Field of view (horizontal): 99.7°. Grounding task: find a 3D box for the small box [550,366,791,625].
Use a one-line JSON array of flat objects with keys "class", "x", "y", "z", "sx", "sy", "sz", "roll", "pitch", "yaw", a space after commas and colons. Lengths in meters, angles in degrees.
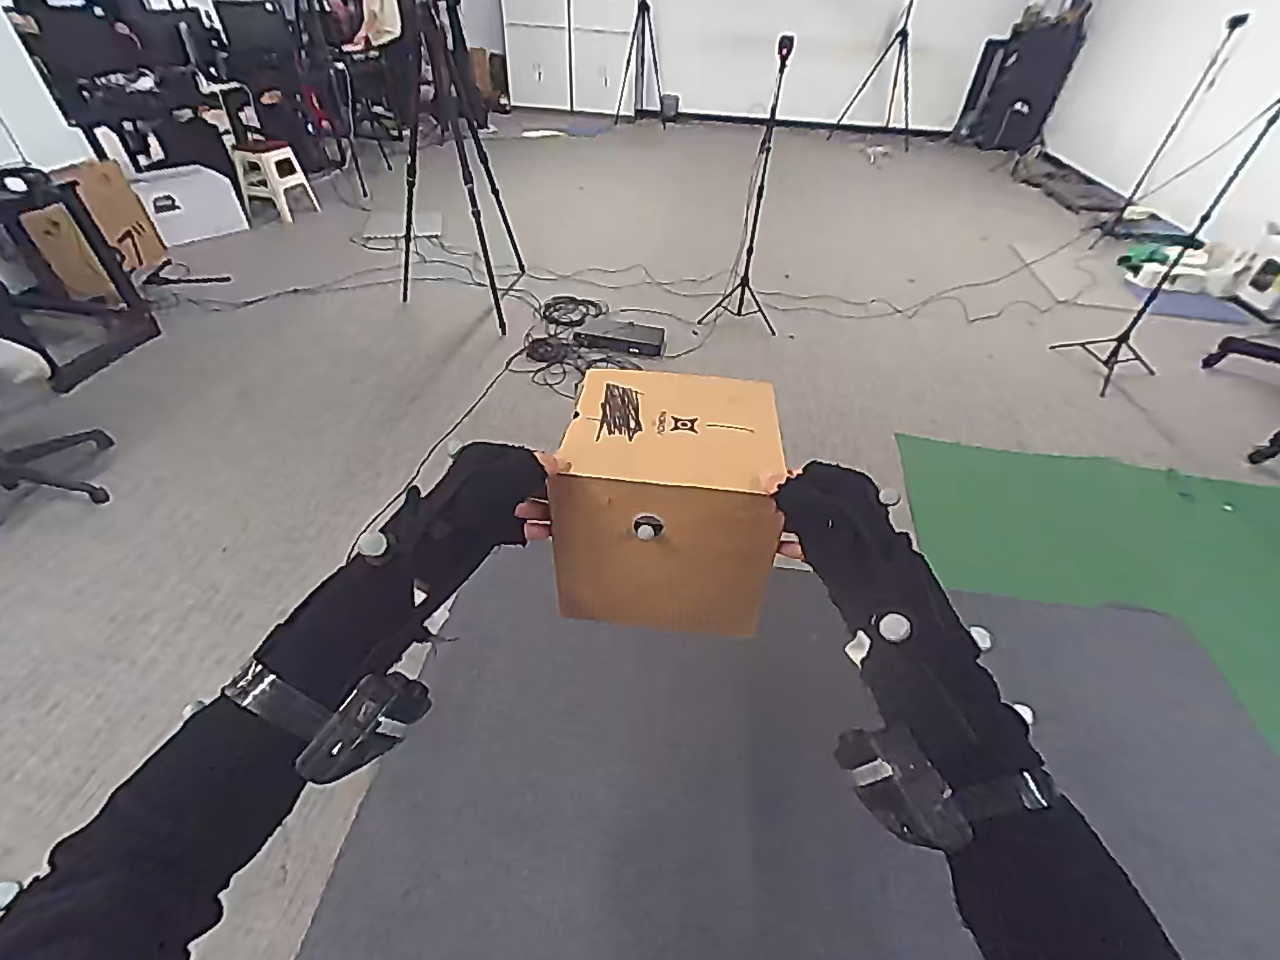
[{"class": "small box", "x": 0.029, "y": 0.013, "z": 0.492, "sx": 0.179, "sy": 0.176, "sz": 0.168, "roll": 5, "pitch": 40, "yaw": 4}]
